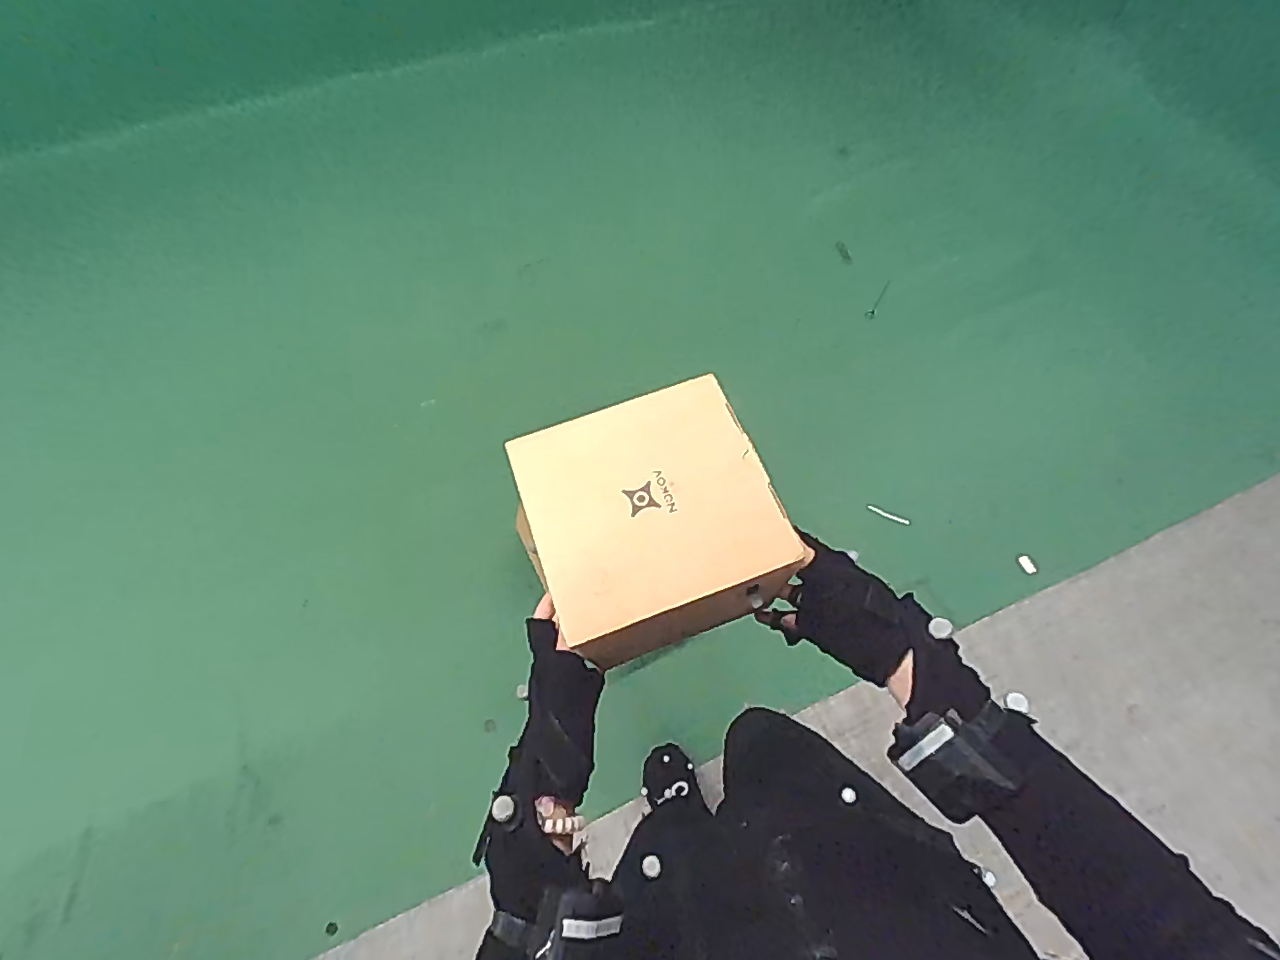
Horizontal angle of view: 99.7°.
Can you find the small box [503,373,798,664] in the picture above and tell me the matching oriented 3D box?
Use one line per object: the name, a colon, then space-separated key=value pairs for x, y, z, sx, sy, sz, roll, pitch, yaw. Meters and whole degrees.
small box: x=0.006 y=0.044 z=0.462 sx=0.179 sy=0.176 sz=0.168 roll=-20 pitch=66 yaw=-6
